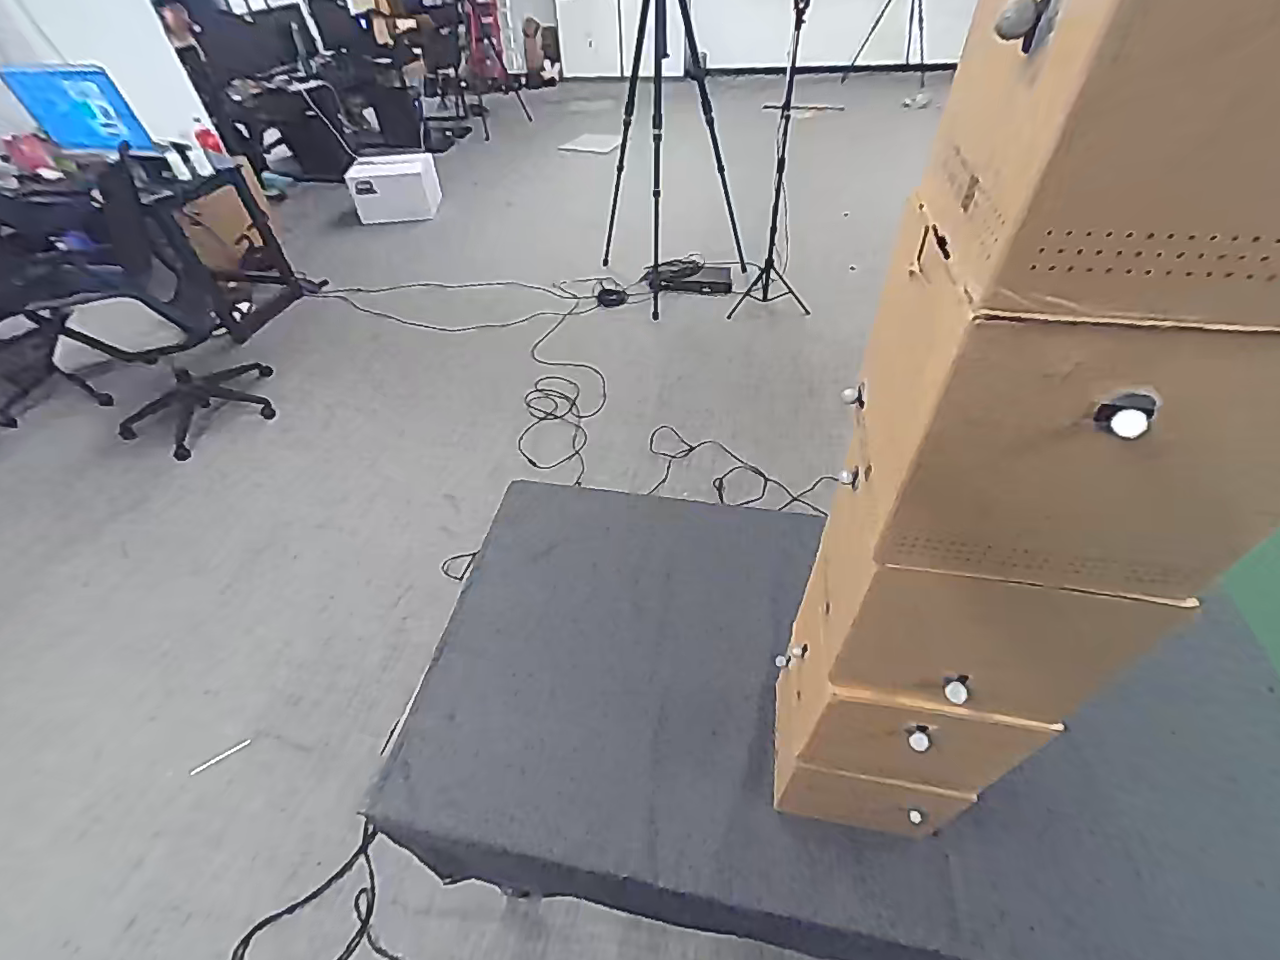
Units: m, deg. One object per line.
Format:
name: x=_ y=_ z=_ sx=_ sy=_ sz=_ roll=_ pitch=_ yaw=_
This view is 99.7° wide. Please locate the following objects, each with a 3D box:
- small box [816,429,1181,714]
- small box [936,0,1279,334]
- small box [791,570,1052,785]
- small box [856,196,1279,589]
small box: x=0.249 y=0.067 z=0.436 sx=0.179 sy=0.176 sz=0.168 roll=8 pitch=45 yaw=10
small box: x=0.235 y=-0.169 z=0.209 sx=0.179 sy=0.176 sz=0.168 roll=8 pitch=47 yaw=12
small box: x=0.257 y=0.187 z=0.546 sx=0.179 sy=0.176 sz=0.168 roll=6 pitch=45 yaw=9
small box: x=0.238 y=-0.054 z=0.324 sx=0.179 sy=0.176 sz=0.168 roll=7 pitch=46 yaw=9
